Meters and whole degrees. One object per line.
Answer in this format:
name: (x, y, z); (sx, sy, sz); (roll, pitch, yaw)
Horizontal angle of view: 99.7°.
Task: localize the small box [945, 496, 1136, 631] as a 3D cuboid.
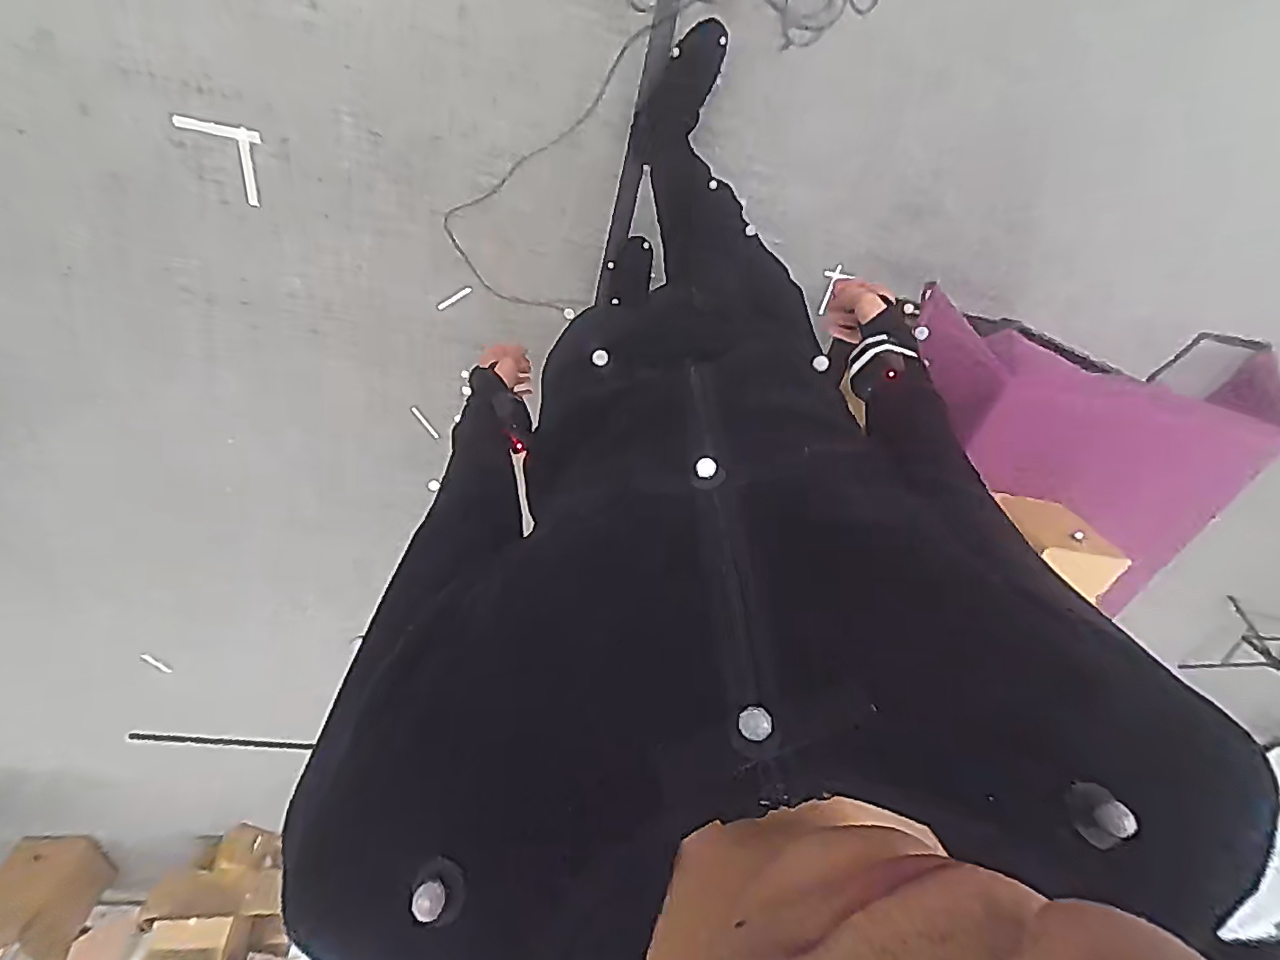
small box: (0.704, 0.147, 0.973); (0.179, 0.176, 0.168); (9, 122, -11)
